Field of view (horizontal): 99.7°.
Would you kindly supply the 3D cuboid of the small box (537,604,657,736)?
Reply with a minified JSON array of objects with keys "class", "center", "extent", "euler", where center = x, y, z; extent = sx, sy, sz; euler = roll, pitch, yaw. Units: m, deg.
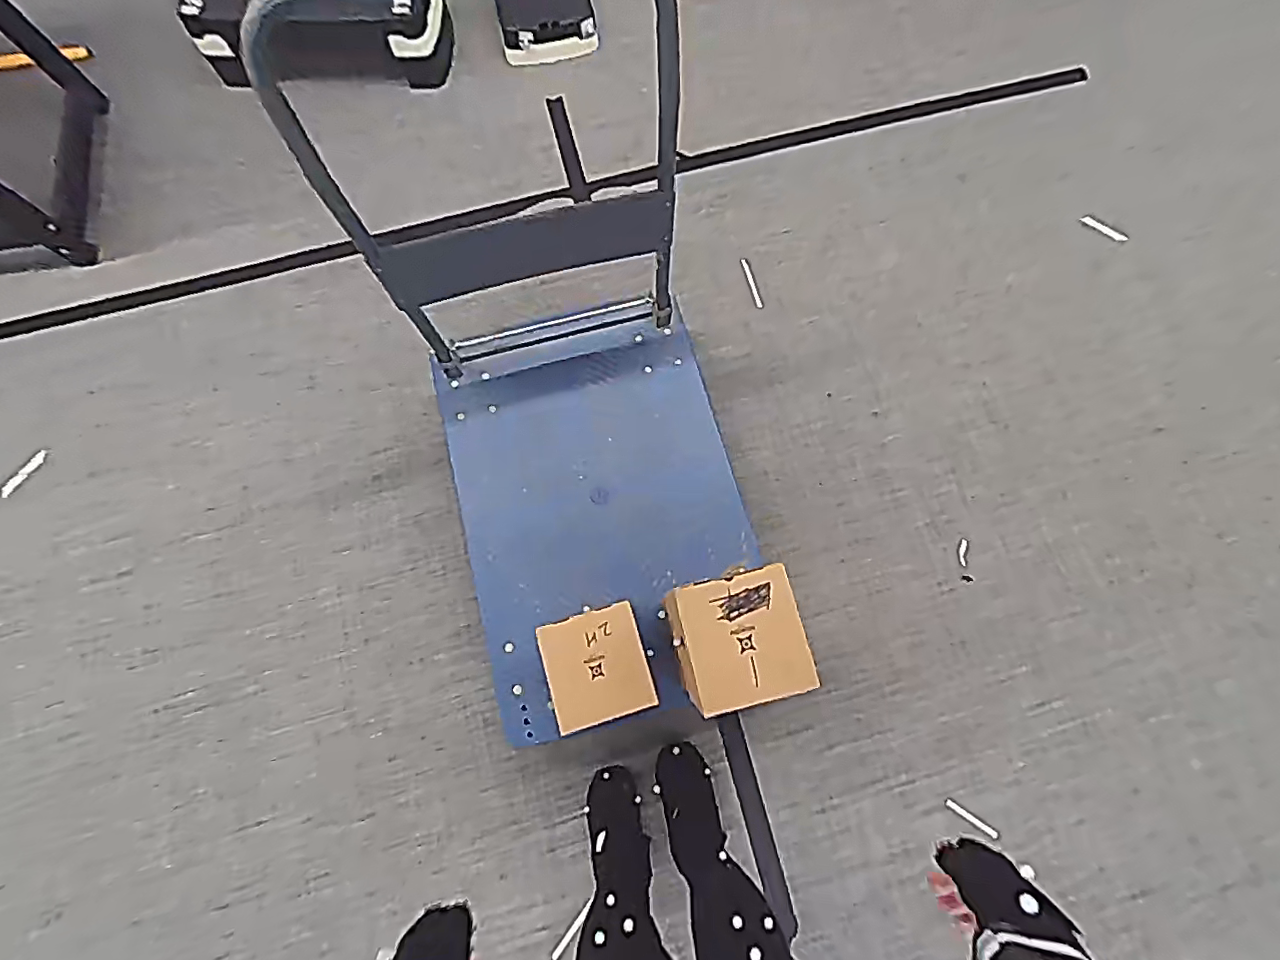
[{"class":"small box","center":[-0.072,0.330,0.968],"extent":[0.168,0.176,0.179],"euler":[-16,76,-5]}]

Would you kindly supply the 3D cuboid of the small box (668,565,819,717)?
[{"class":"small box","center":[0.144,0.240,0.824],"extent":[0.168,0.176,0.179],"euler":[-13,76,-4]}]
